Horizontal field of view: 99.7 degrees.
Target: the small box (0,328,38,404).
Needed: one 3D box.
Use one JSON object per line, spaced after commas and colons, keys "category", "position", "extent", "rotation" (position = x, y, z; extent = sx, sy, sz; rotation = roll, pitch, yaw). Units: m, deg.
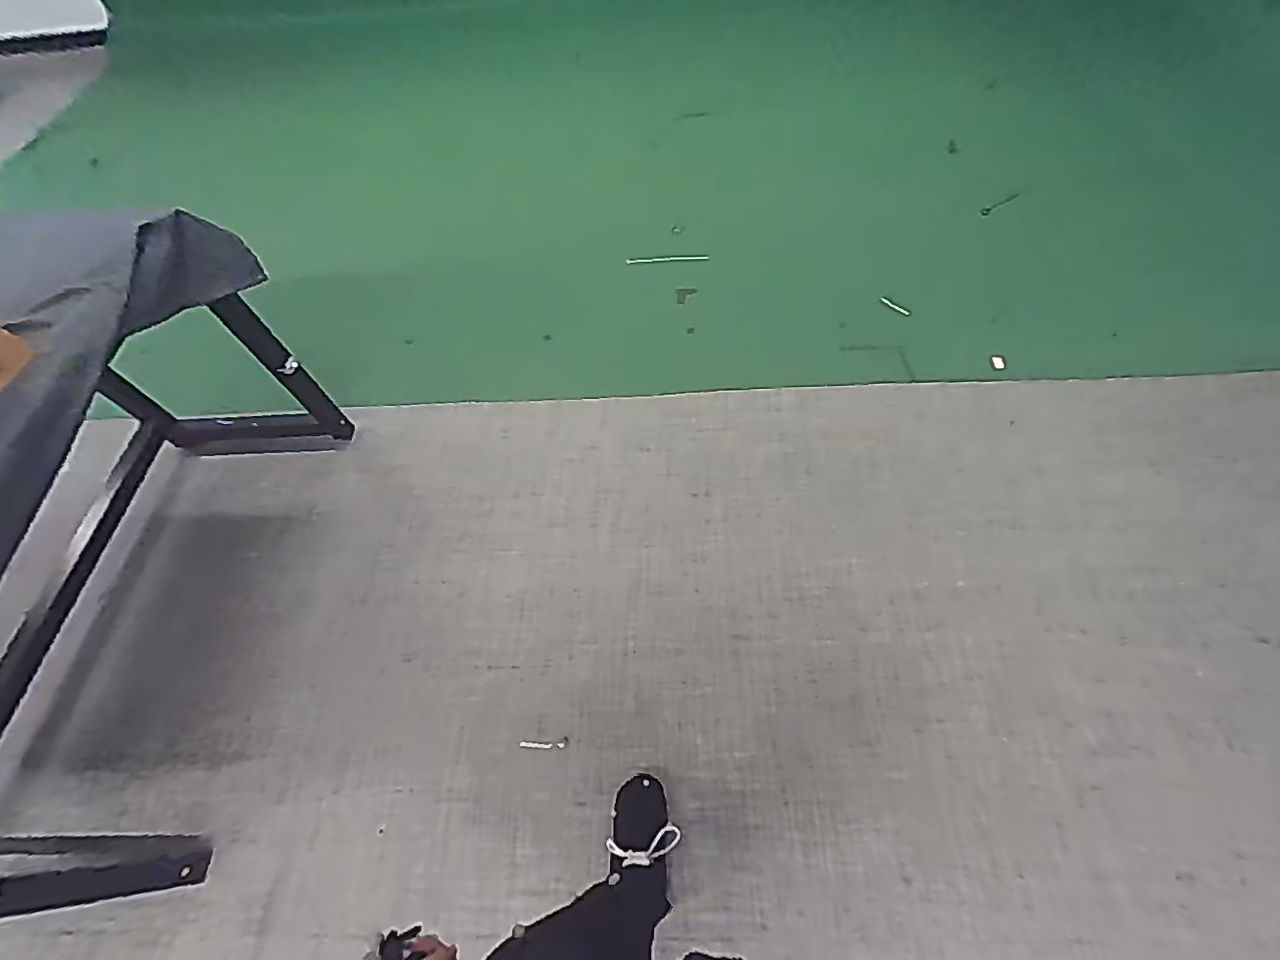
{"category": "small box", "position": [-1.101, -0.183, 0.807], "extent": [0.179, 0.176, 0.168], "rotation": [1, 58, 5]}
